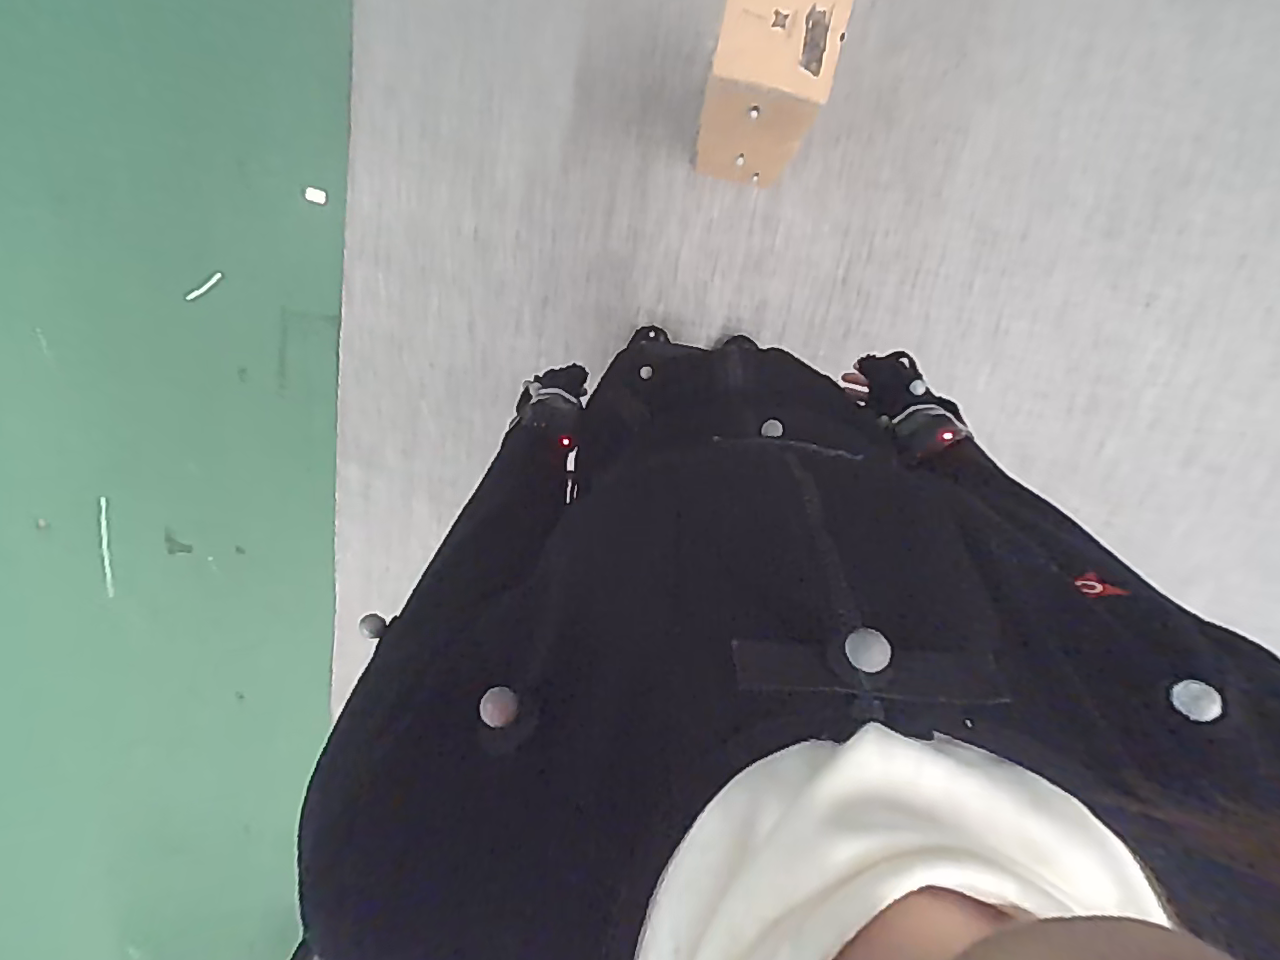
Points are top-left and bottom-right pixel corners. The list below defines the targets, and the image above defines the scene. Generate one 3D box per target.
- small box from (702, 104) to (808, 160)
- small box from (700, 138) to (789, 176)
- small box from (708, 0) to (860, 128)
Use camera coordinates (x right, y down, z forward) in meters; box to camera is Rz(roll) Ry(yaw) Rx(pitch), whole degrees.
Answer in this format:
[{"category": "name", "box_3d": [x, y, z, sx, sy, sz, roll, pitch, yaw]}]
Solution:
[{"category": "small box", "box_3d": [0.222, -0.712, 0.988, 0.179, 0.176, 0.168, 15, 106, -3]}, {"category": "small box", "box_3d": [0.232, -0.763, 1.143, 0.179, 0.176, 0.168, 12, 106, 0]}, {"category": "small box", "box_3d": [0.213, -0.667, 0.829, 0.179, 0.176, 0.168, 11, 107, -2]}]
